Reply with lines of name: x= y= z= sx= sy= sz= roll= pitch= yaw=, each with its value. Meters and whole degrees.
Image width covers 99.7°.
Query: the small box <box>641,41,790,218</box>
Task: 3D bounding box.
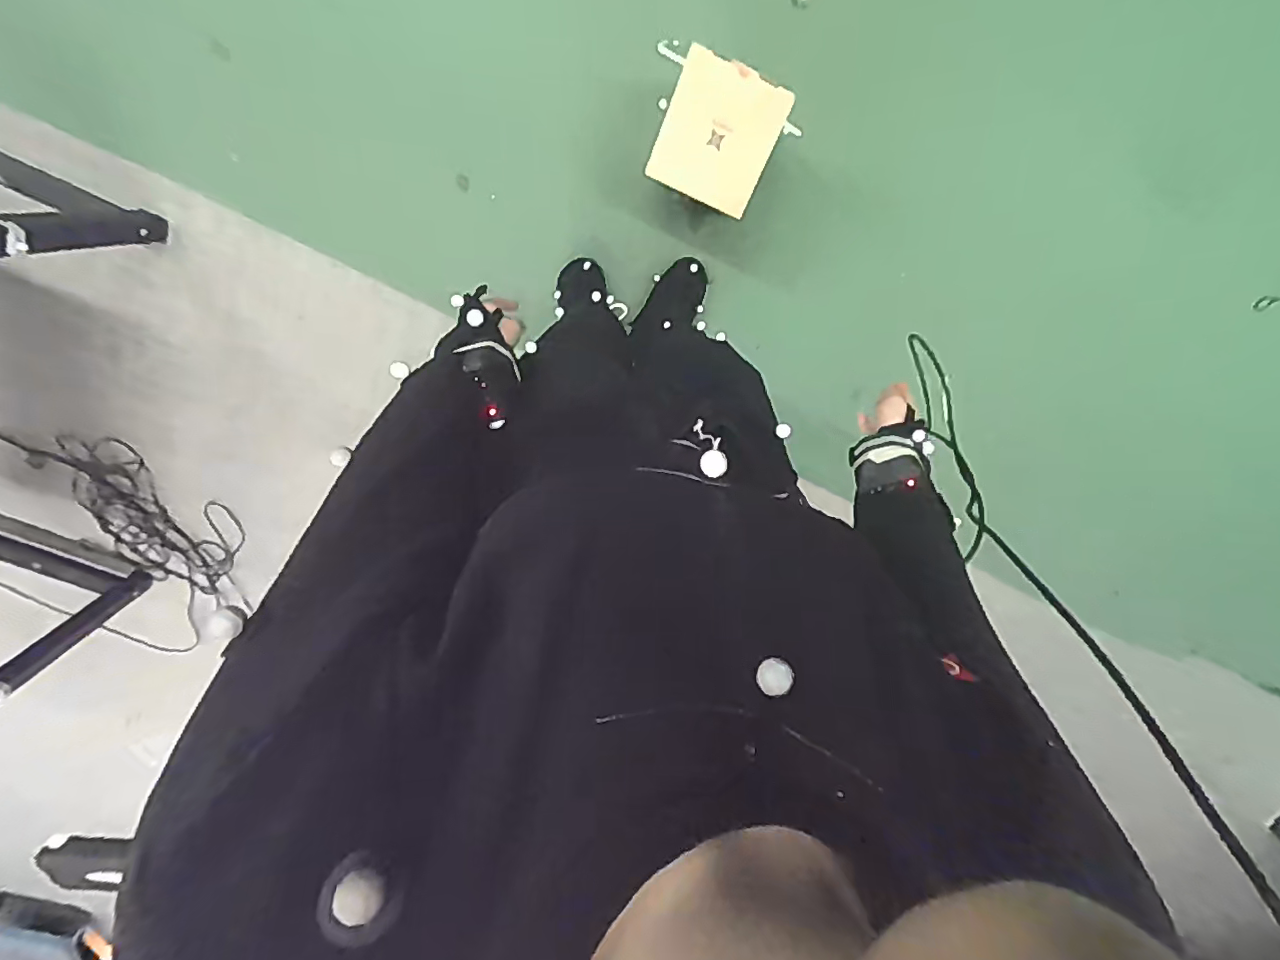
small box: x=0.113 y=-0.544 z=0.863 sx=0.168 sy=0.176 sz=0.179 roll=21 pitch=117 yaw=-8
